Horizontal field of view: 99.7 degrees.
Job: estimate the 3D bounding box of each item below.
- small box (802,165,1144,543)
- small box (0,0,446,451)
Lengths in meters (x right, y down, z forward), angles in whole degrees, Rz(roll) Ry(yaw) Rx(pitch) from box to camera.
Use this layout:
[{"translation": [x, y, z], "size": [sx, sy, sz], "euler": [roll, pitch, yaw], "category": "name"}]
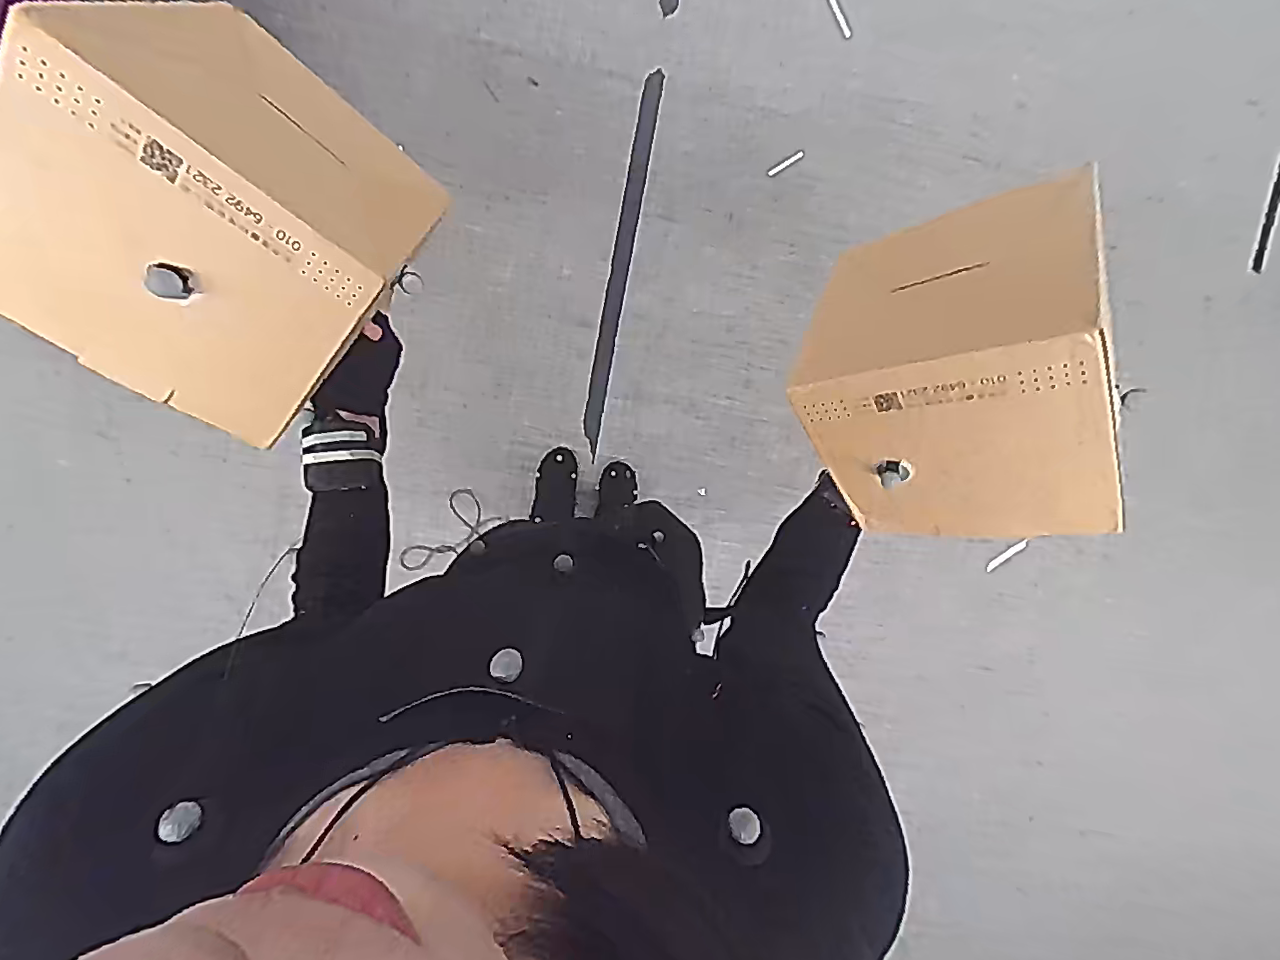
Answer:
[{"translation": [0.234, -0.075, 0.380], "size": [0.176, 0.168, 0.179], "euler": [51, 53, -33], "category": "small box"}, {"translation": [-0.252, -0.159, 0.343], "size": [0.168, 0.179, 0.176], "euler": [36, 119, -29], "category": "small box"}]
